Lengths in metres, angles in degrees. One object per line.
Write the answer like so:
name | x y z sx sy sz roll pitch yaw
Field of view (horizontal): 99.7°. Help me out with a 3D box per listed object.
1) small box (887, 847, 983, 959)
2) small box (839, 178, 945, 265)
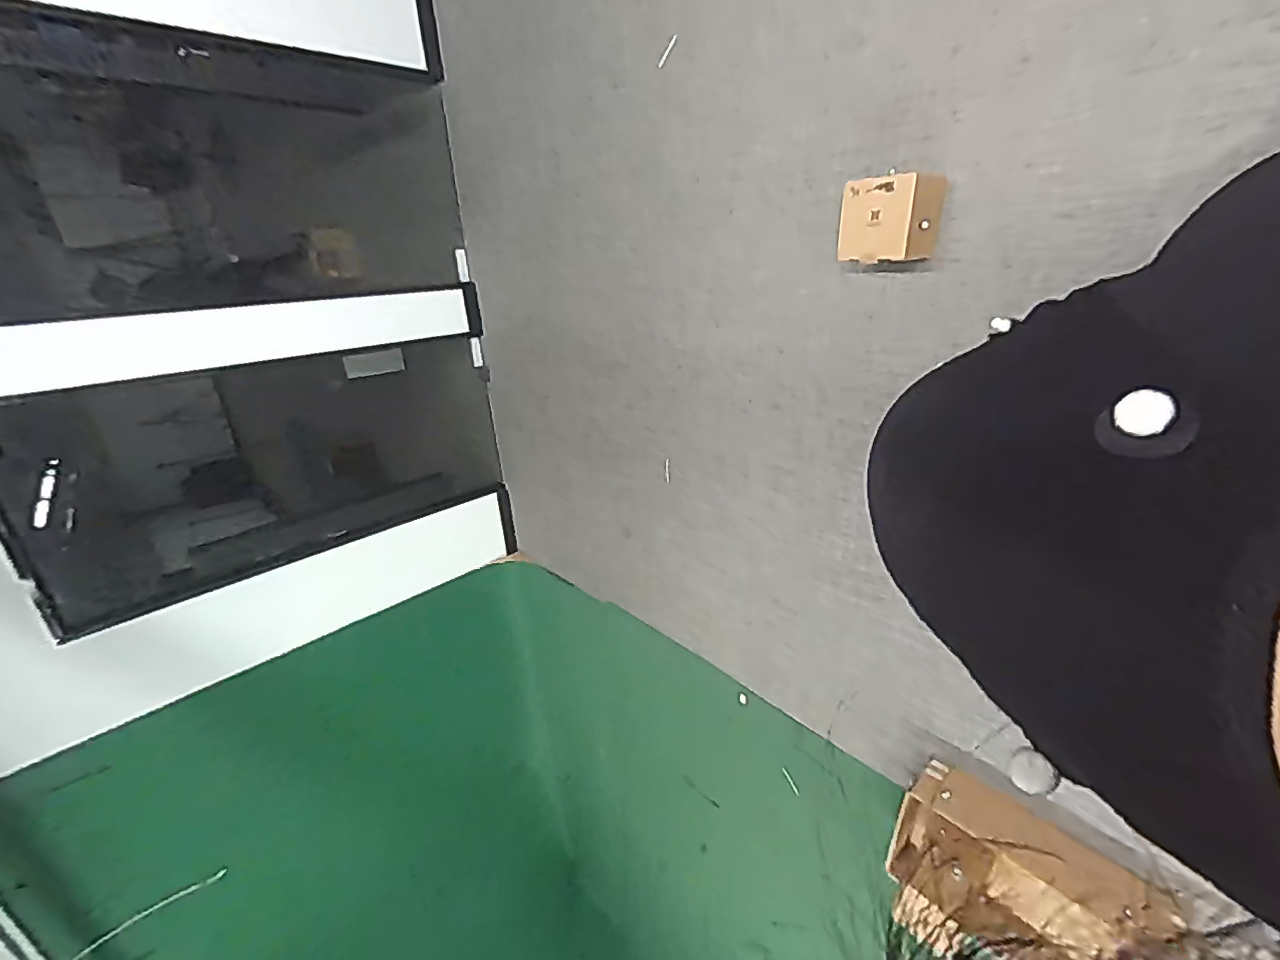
small box | 0.812 1.176 1.488 0.168 0.176 0.179 25 122 41
small box | 0.601 -0.612 1.289 0.168 0.176 0.179 22 123 43
